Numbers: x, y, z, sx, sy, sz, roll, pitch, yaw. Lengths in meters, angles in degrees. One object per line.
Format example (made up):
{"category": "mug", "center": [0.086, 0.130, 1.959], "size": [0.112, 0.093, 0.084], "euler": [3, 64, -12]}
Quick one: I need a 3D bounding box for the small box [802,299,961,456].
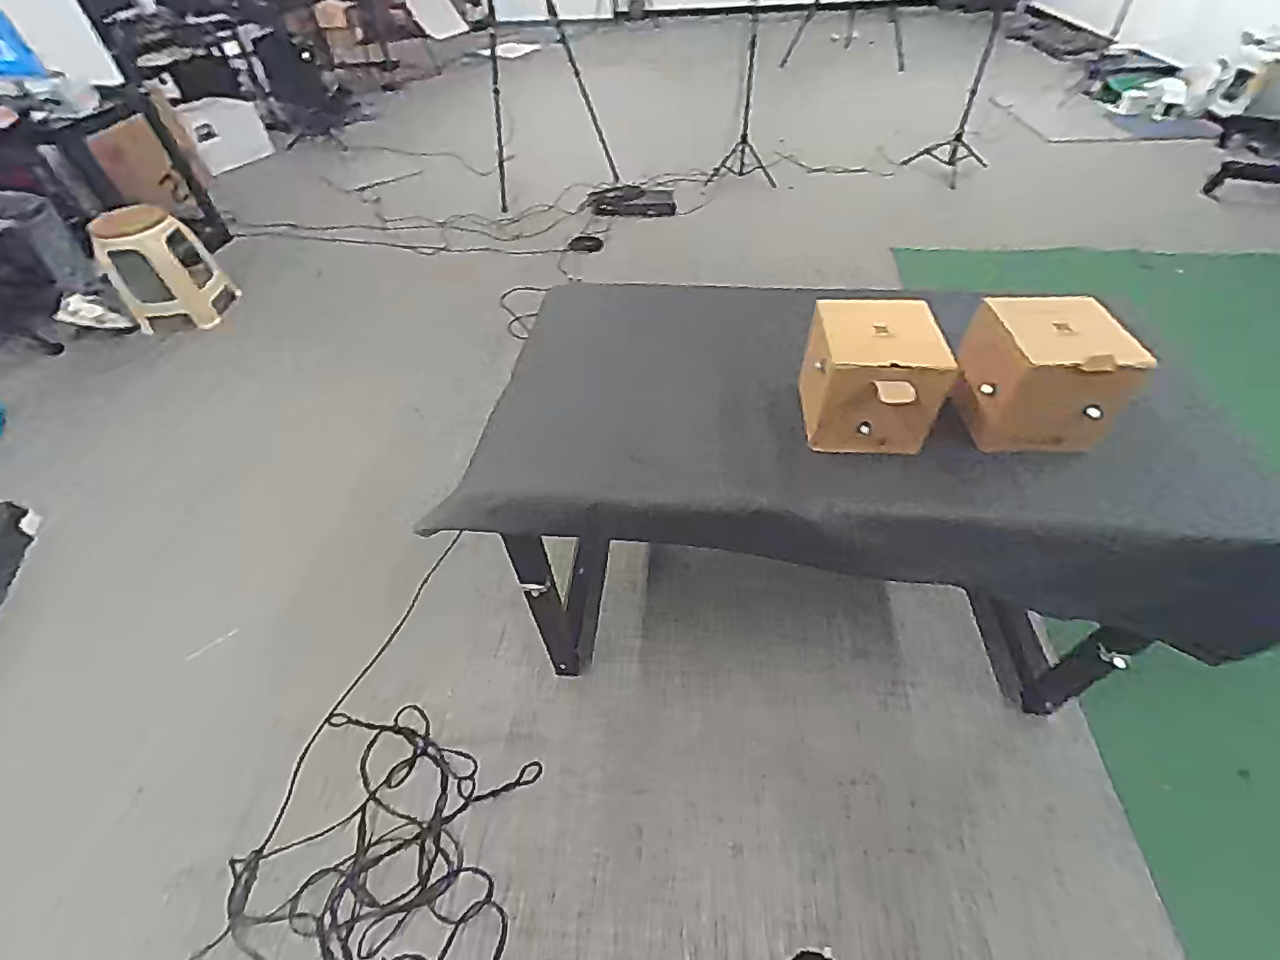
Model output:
{"category": "small box", "center": [0.357, -0.160, 0.842], "size": [0.168, 0.176, 0.179], "euler": [2, 48, 5]}

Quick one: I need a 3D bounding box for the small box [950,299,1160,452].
{"category": "small box", "center": [0.608, -0.157, 0.826], "size": [0.168, 0.176, 0.179], "euler": [1, 47, 2]}
